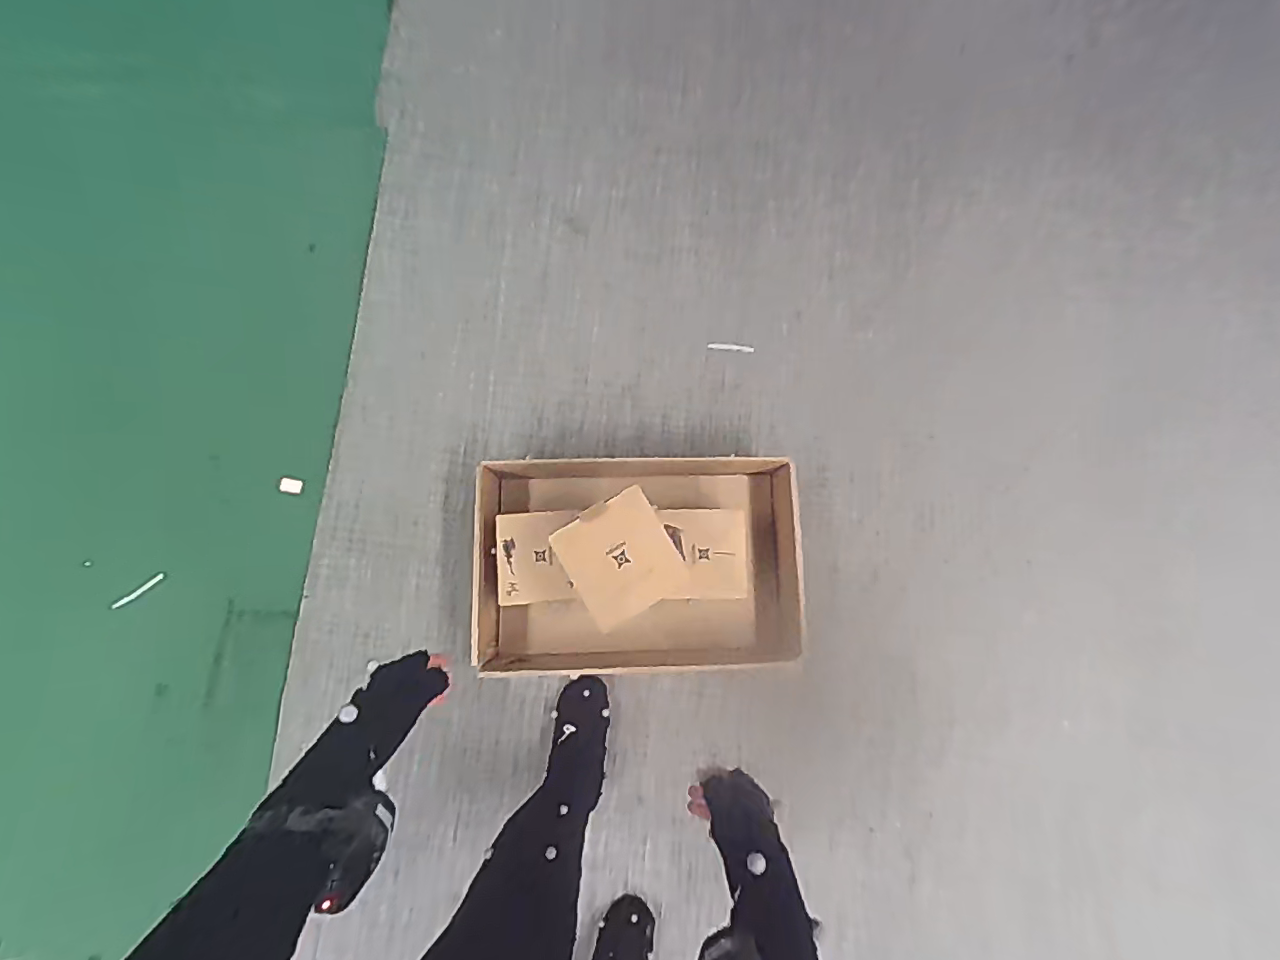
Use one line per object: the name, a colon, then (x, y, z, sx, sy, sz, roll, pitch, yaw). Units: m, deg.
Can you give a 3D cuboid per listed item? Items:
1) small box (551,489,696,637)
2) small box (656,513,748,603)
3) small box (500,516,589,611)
small box: (-0.030, 0.137, 0.907, 0.168, 0.176, 0.179, -31, 85, -6)
small box: (0.109, 0.156, 1.070, 0.179, 0.176, 0.168, 0, 81, -1)
small box: (-0.171, 0.162, 1.061, 0.179, 0.176, 0.168, -4, 80, -4)
